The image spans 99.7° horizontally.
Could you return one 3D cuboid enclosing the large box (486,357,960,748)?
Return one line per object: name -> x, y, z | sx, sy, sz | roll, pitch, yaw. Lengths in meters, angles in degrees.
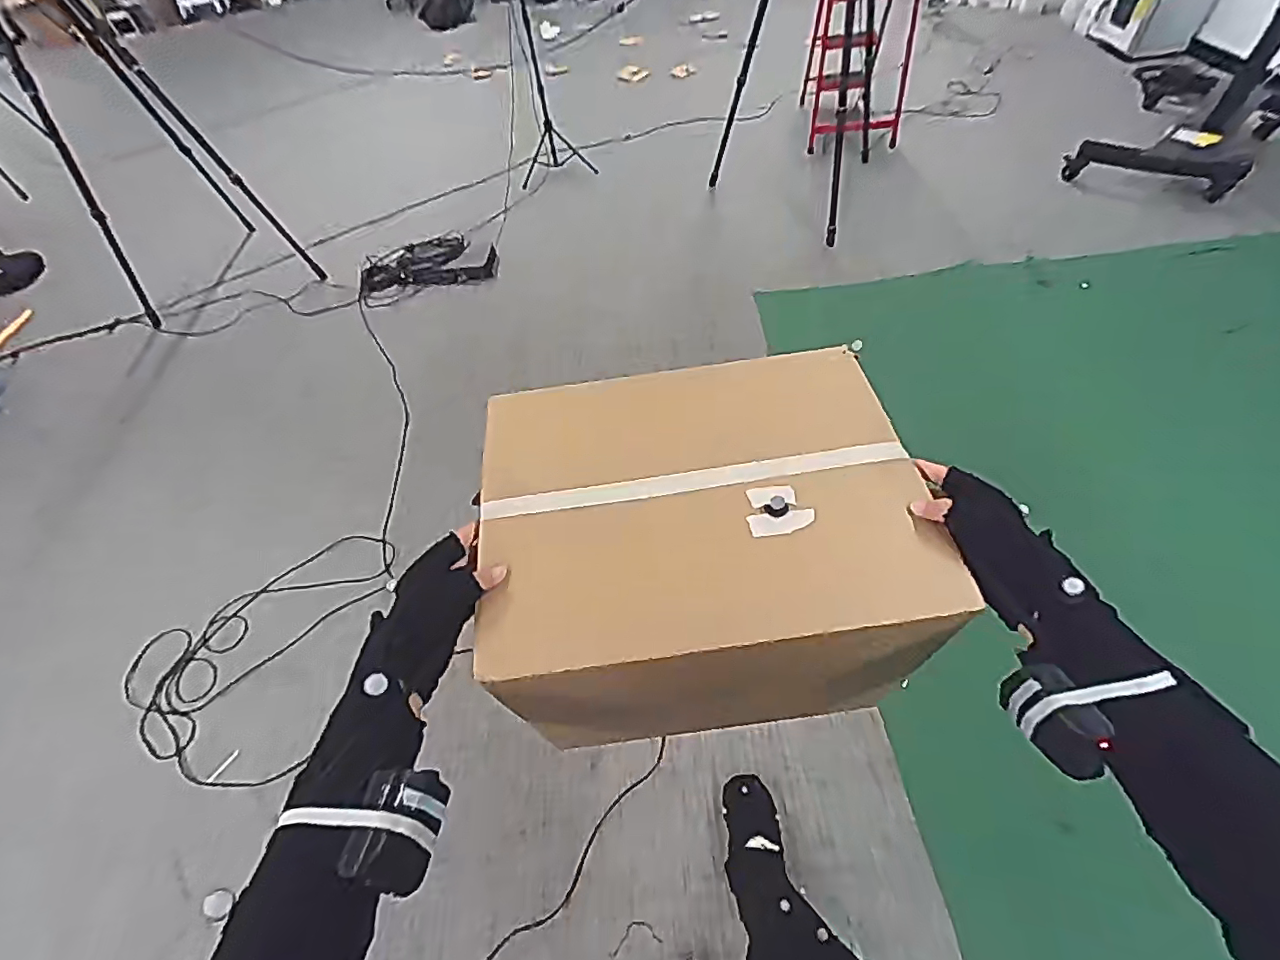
large box -> 0.060, 0.097, 0.644 | 0.408, 0.320, 0.320 | -8, 54, -1
